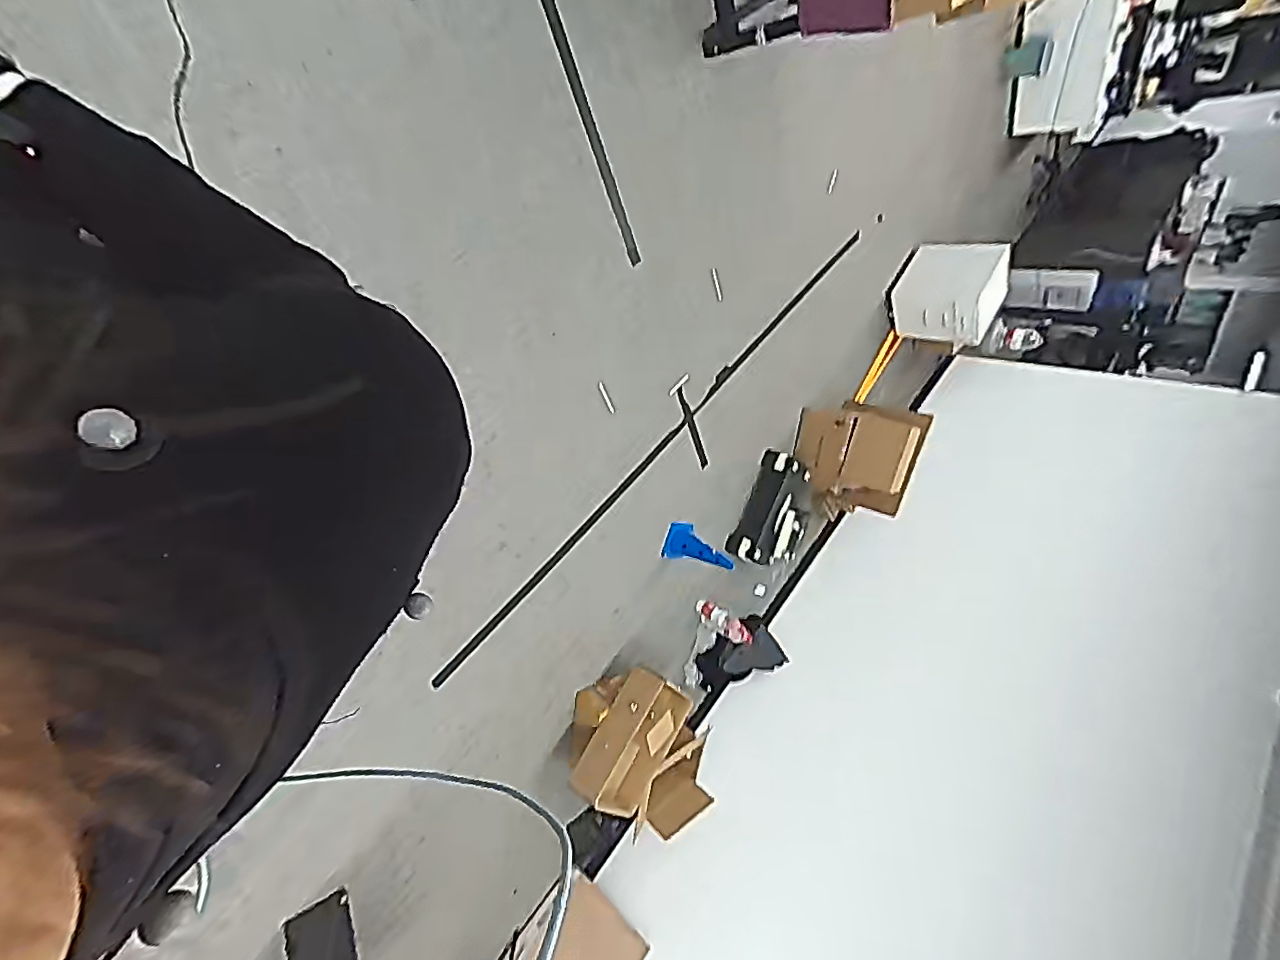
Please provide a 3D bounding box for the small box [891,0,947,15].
[{"bbox_3d":[0.825,-1.446,1.516,0.179,0.176,0.168,-43,133,-27],"label":"small box"}]
